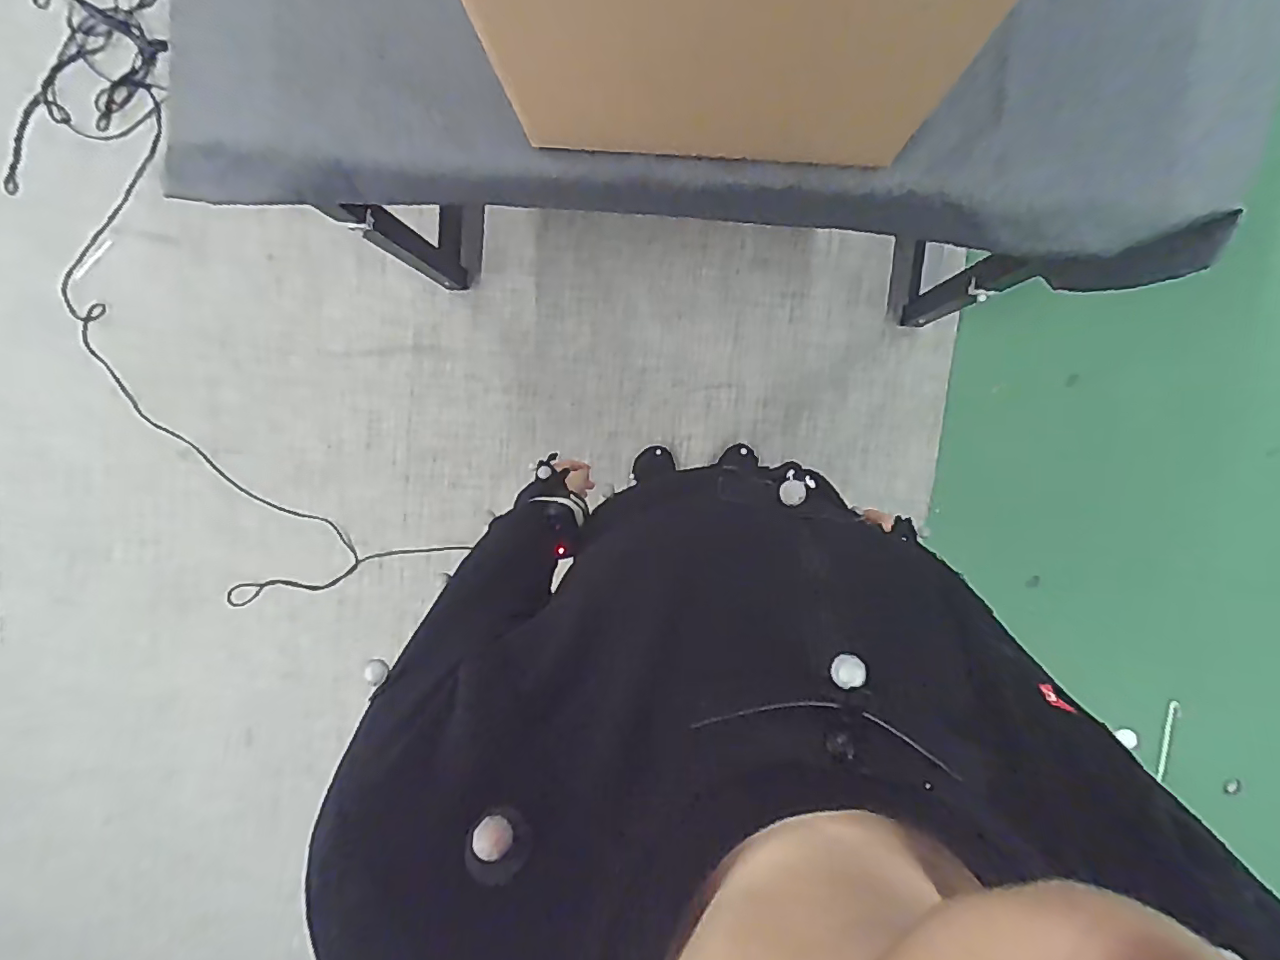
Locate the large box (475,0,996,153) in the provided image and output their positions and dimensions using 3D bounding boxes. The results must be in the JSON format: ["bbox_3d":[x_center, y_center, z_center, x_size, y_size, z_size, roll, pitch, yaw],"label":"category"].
[{"bbox_3d":[0.075,-0.511,0.447,0.408,0.320,0.320,4,94,3],"label":"large box"}]
